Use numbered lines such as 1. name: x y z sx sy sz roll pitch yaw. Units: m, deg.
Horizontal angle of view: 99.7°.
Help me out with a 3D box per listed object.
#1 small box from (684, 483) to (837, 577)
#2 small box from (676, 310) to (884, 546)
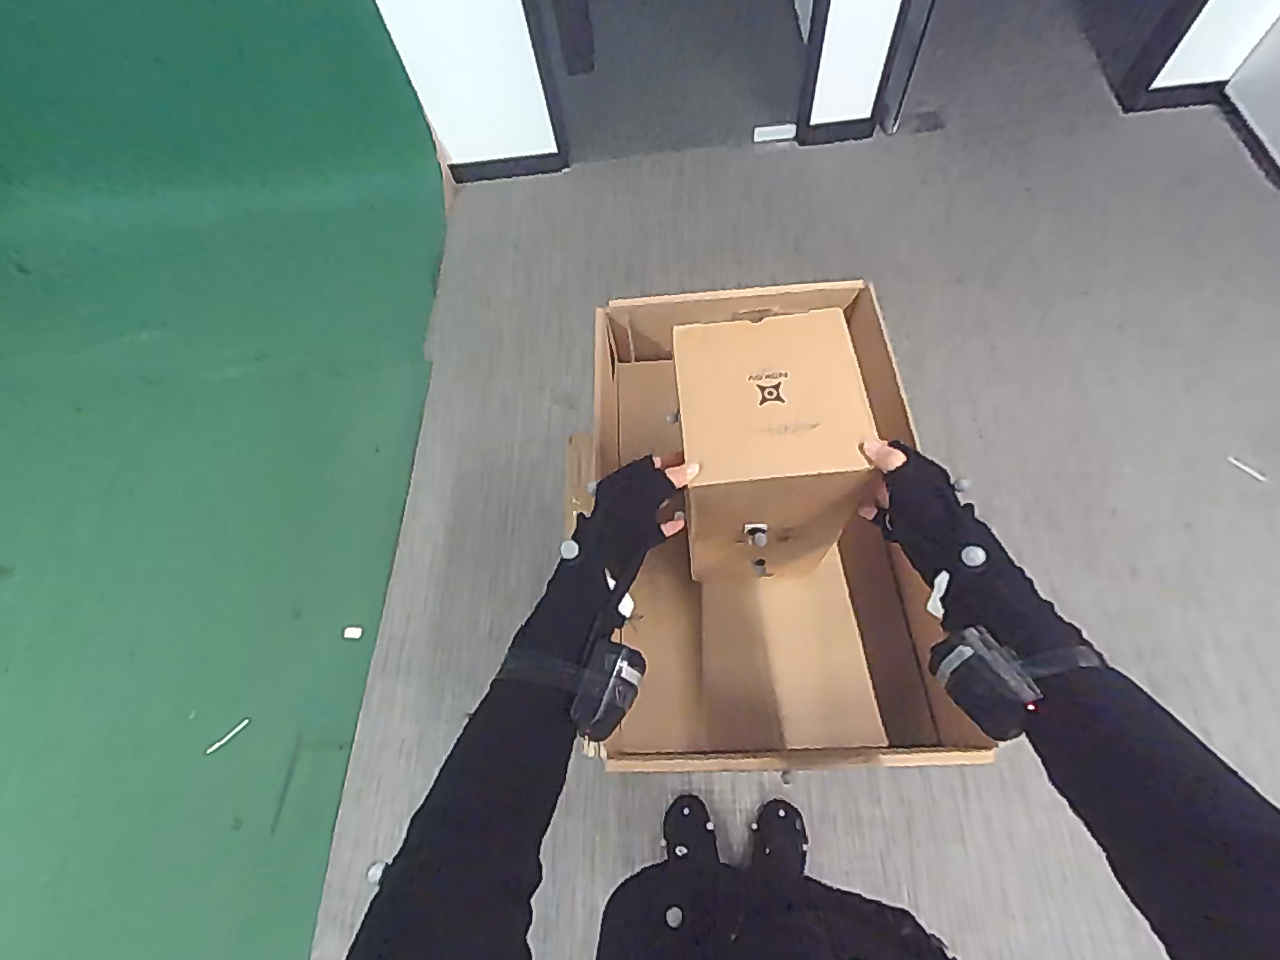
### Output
1. small box: 0.142 0.024 0.704 0.168 0.176 0.179 -3 64 3
2. small box: 0.126 -0.045 0.559 0.168 0.176 0.179 -6 65 5
